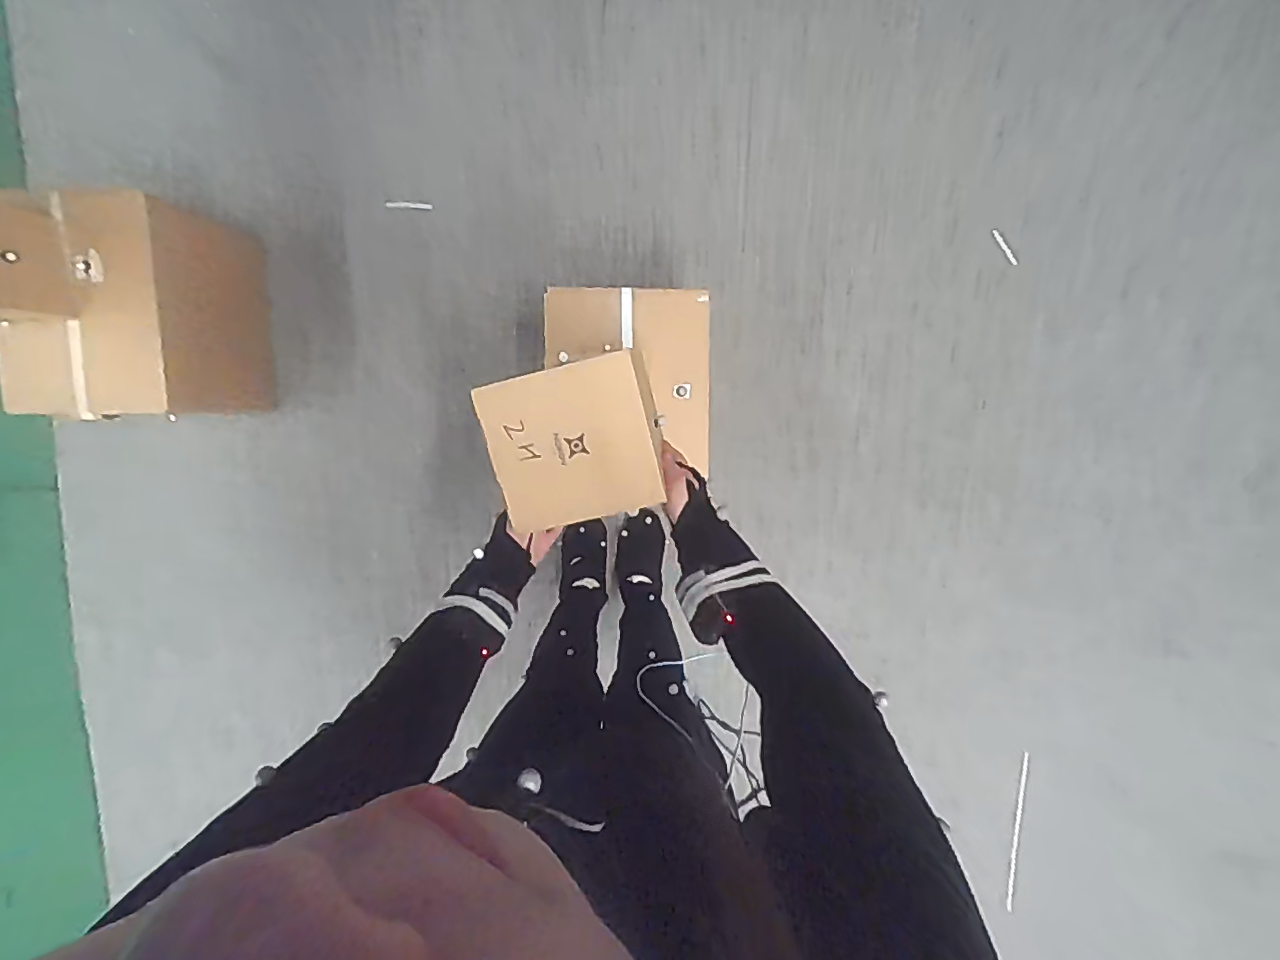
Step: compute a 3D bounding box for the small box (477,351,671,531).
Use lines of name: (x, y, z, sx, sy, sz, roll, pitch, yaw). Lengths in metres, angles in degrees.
small box: (-0.063, -0.056, 0.645, 0.179, 0.176, 0.168, -12, 102, 8)

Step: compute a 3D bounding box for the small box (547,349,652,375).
small box: (-0.060, -0.132, 0.945, 0.168, 0.176, 0.179, -3, 99, 2)

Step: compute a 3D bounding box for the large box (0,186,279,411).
large box: (-1.033, -0.352, 1.153, 0.320, 0.320, 0.408, 0, 97, 0)
